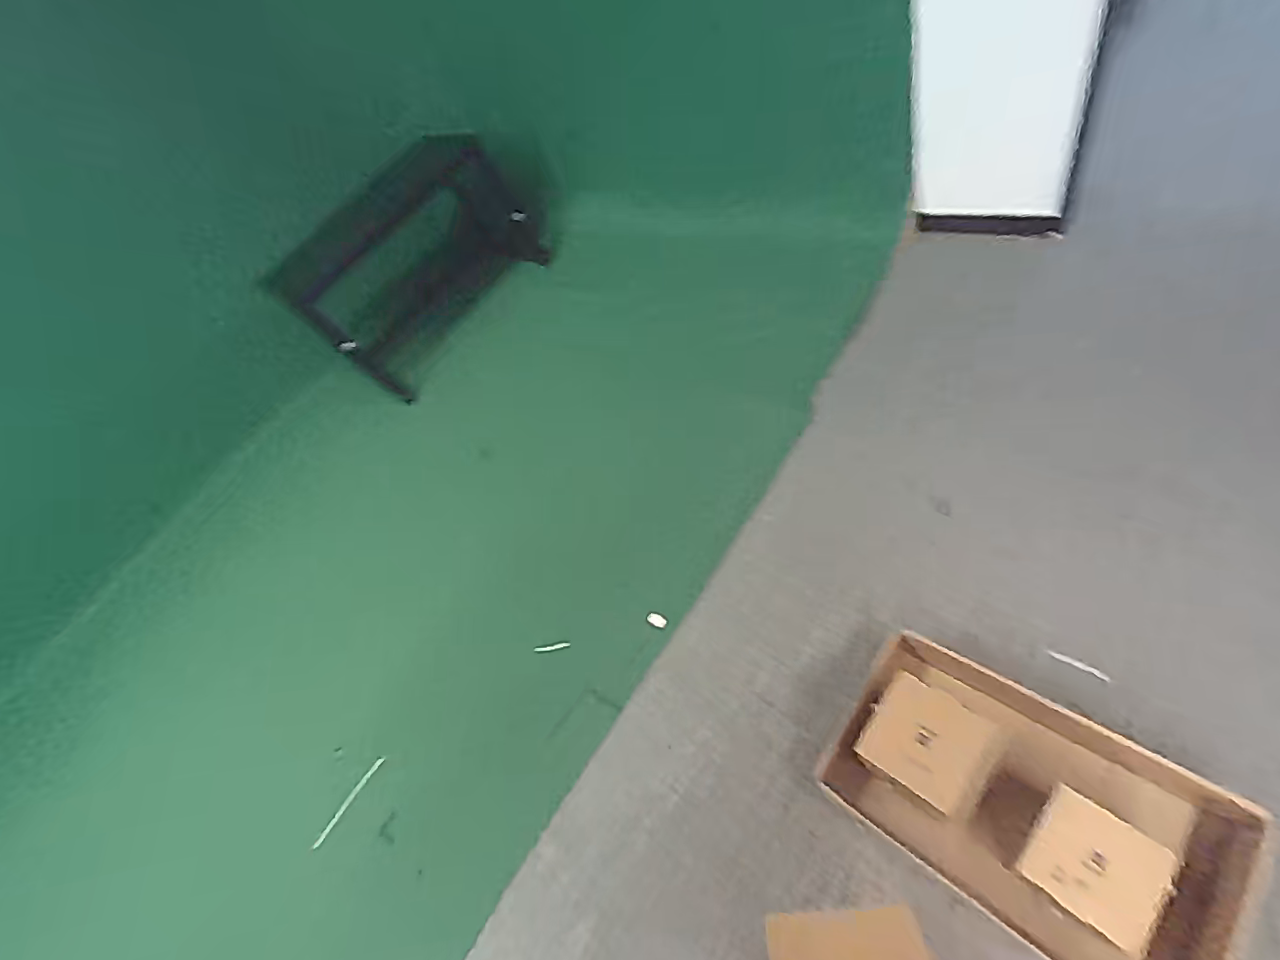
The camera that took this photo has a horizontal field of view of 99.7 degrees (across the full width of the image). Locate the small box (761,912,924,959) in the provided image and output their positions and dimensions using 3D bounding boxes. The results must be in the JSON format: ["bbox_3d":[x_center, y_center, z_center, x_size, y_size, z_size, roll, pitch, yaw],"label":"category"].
[{"bbox_3d":[0.226,0.594,0.551,0.168,0.176,0.179,-11,17,8],"label":"small box"}]

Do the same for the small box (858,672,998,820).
[{"bbox_3d":[0.528,0.495,1.006,0.168,0.176,0.179,29,74,37],"label":"small box"}]
